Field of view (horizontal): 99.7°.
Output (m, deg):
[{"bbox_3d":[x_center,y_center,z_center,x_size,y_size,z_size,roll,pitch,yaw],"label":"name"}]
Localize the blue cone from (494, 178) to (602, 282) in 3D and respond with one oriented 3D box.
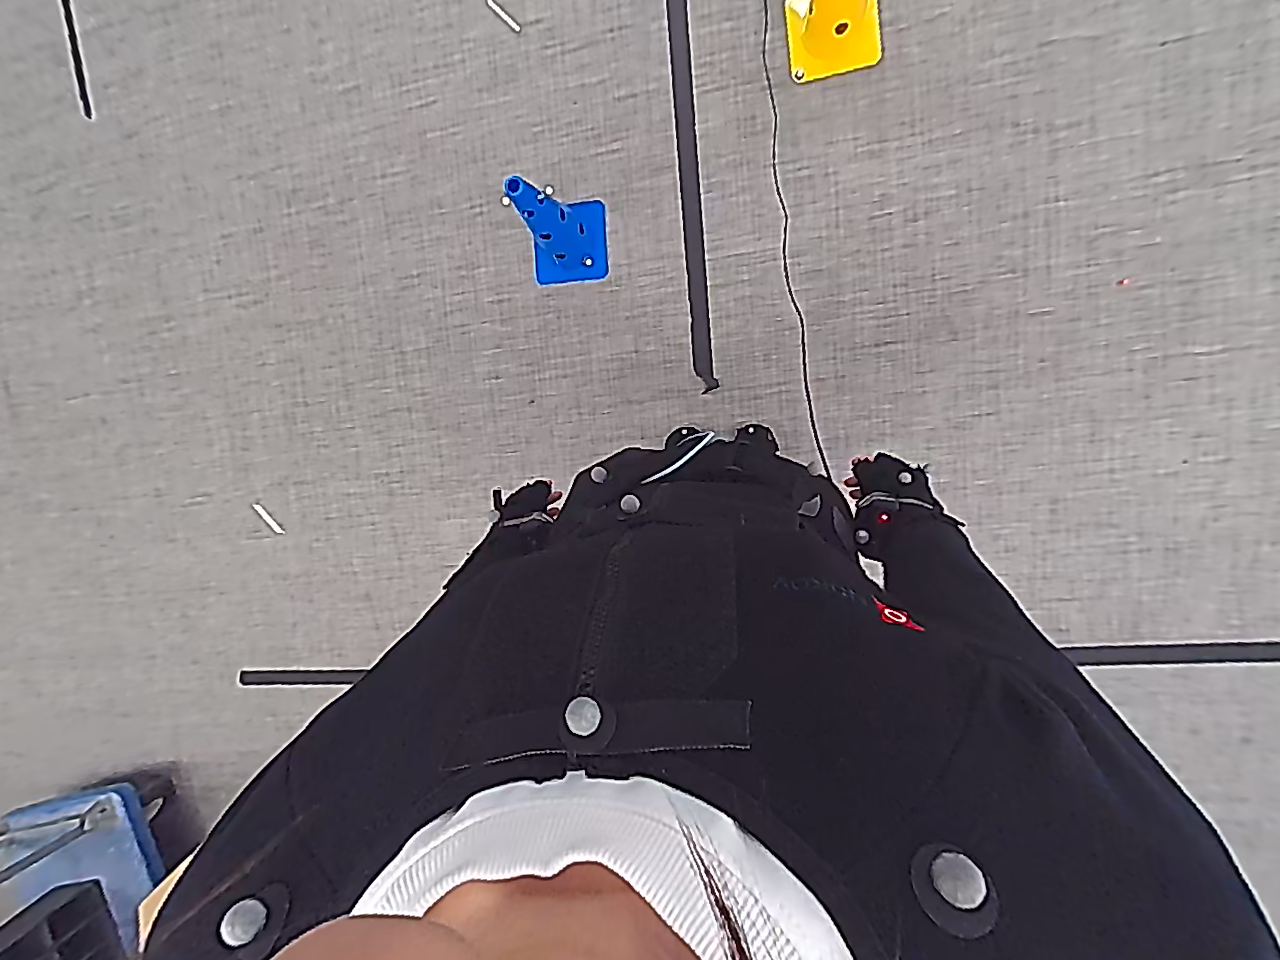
[{"bbox_3d":[-0.228,-0.609,1.261,0.192,0.380,0.193,0,96,12],"label":"blue cone"}]
